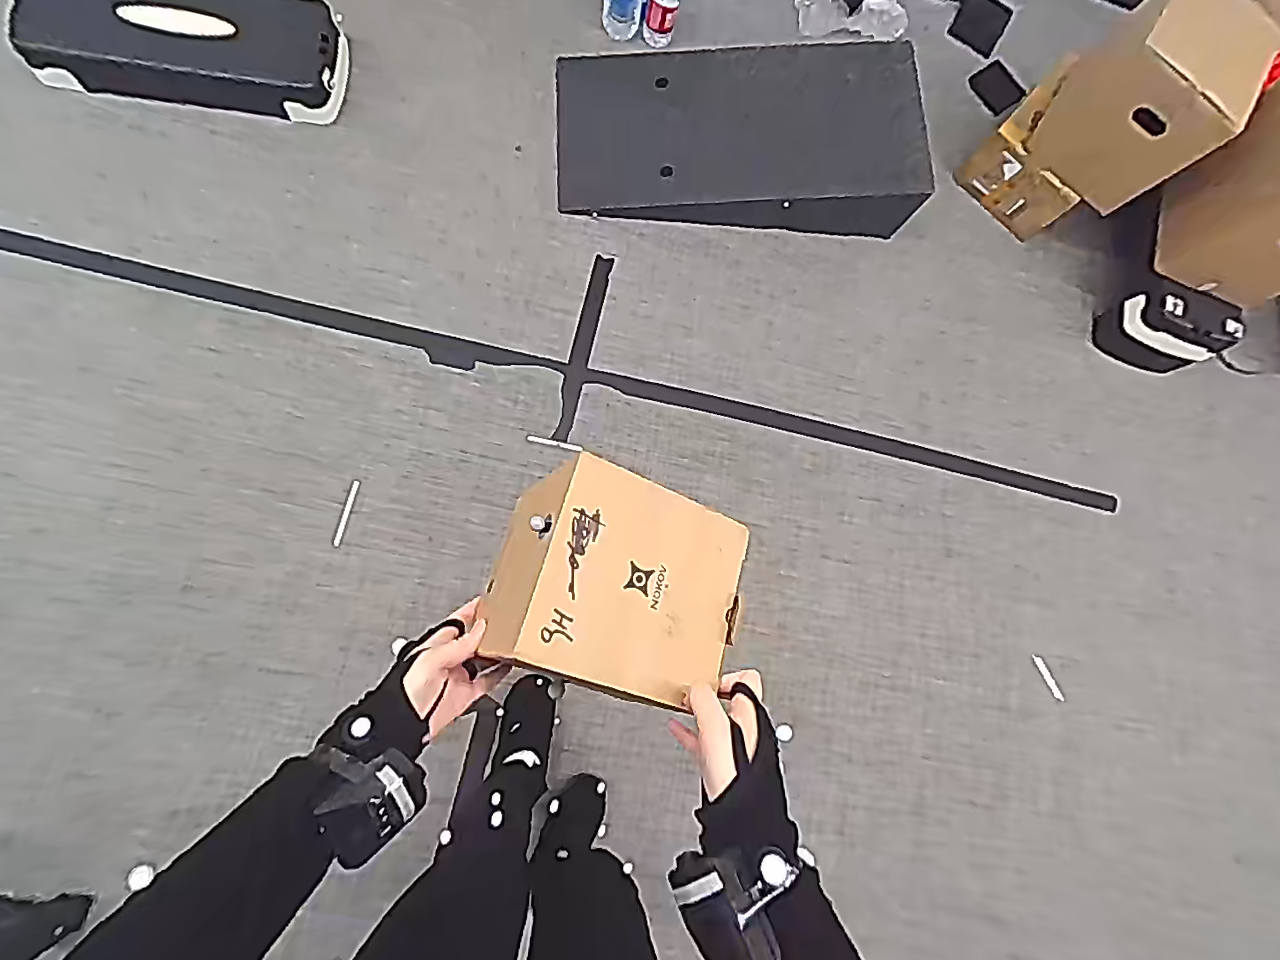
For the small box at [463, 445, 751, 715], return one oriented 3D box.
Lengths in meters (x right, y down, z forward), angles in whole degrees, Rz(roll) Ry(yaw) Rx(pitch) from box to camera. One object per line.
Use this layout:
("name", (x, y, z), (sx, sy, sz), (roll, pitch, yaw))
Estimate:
("small box", (-0.033, 0.093, 0.487), (0.179, 0.176, 0.168), (26, 66, -22))
